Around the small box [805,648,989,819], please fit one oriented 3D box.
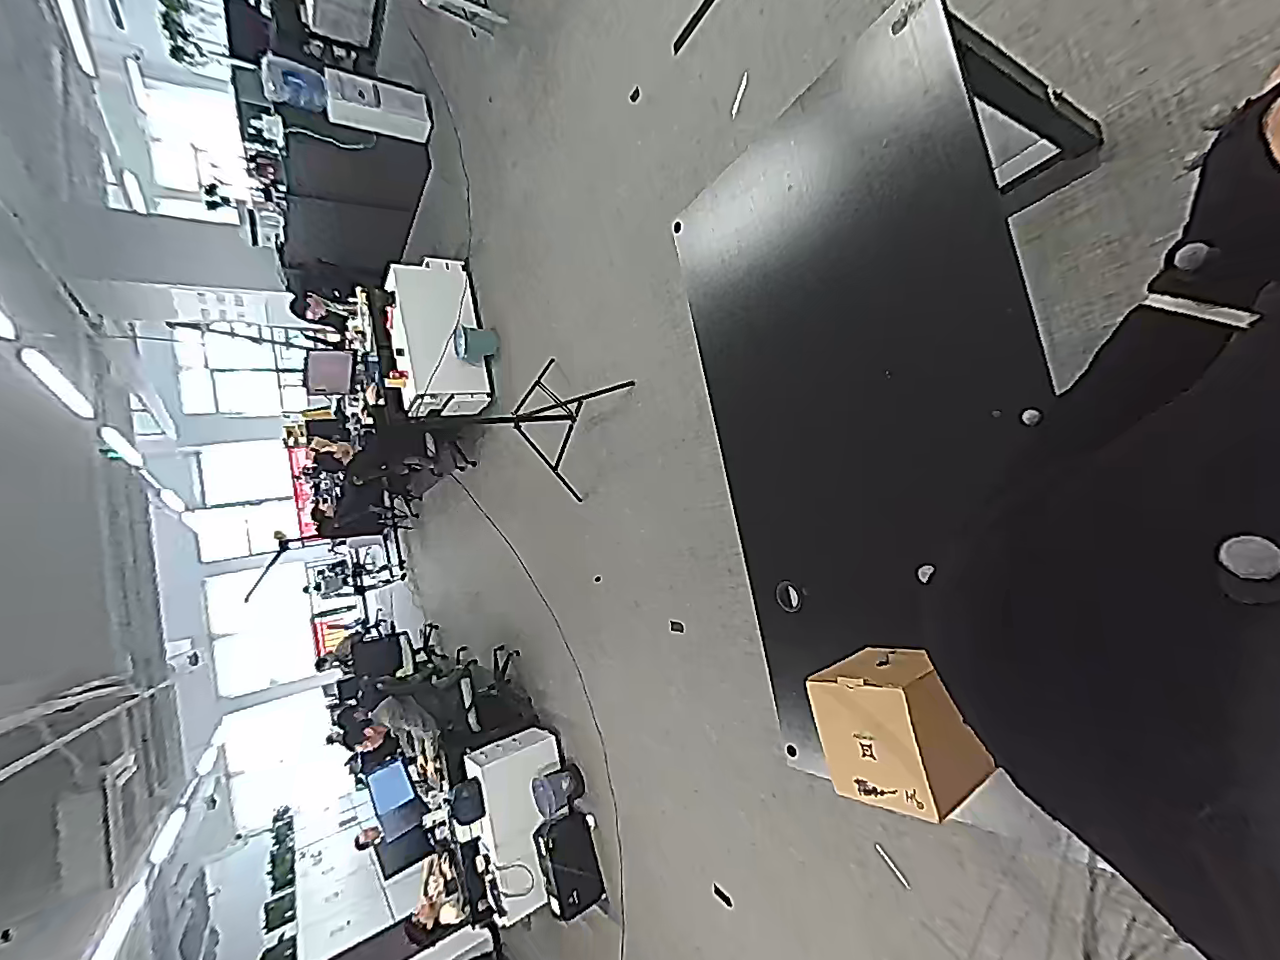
[{"bbox_3d":[0.383,0.359,0.810,0.168,0.176,0.179,-23,77,55],"label":"small box"}]
